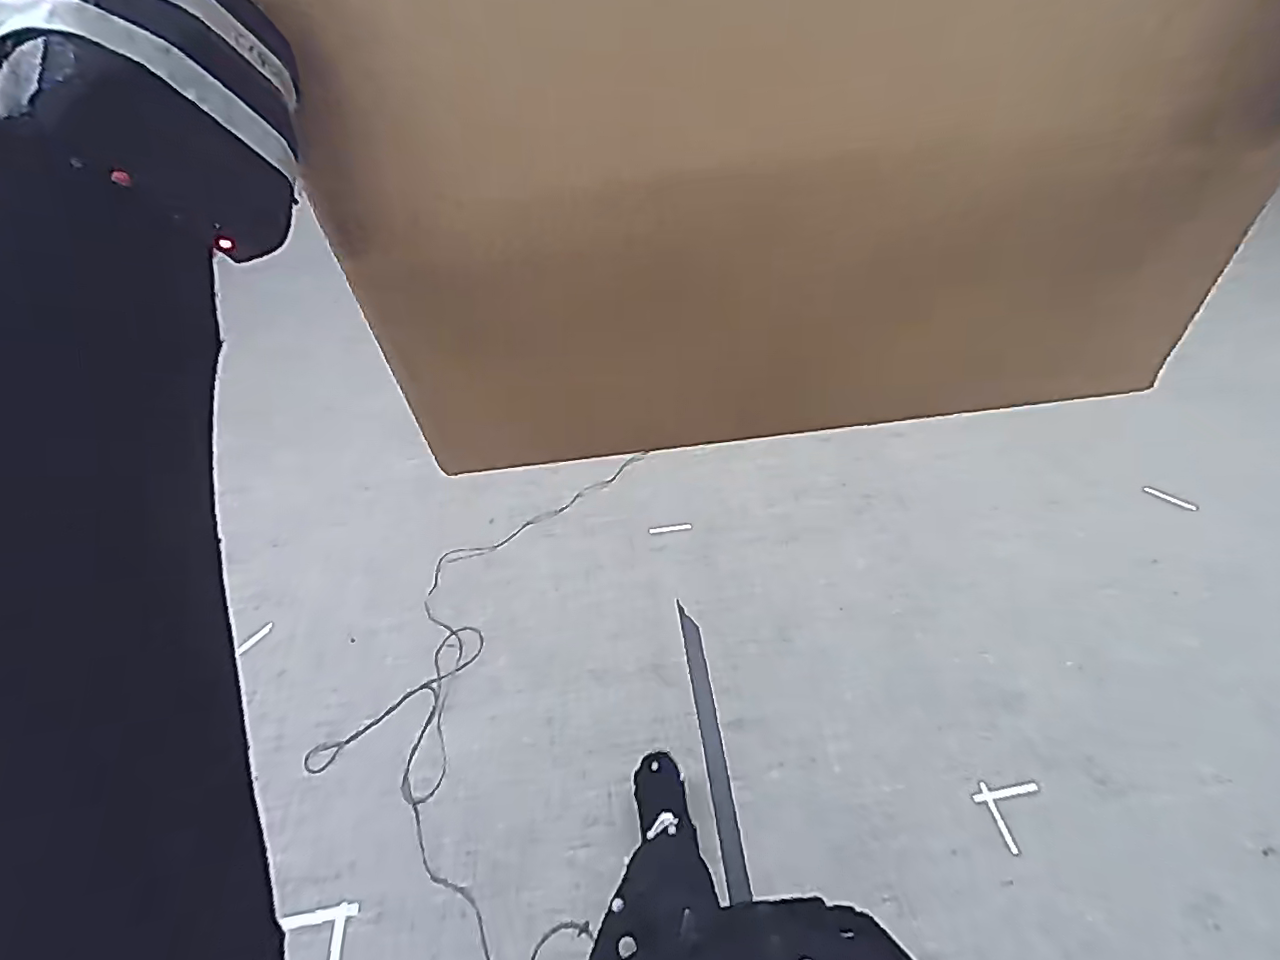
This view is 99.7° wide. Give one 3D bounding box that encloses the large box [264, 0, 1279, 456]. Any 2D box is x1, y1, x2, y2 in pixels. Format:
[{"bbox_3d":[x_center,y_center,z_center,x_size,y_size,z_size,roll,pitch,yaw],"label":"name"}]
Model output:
[{"bbox_3d":[0.056,-0.244,0.333,0.408,0.320,0.320,-7,43,0],"label":"large box"}]
